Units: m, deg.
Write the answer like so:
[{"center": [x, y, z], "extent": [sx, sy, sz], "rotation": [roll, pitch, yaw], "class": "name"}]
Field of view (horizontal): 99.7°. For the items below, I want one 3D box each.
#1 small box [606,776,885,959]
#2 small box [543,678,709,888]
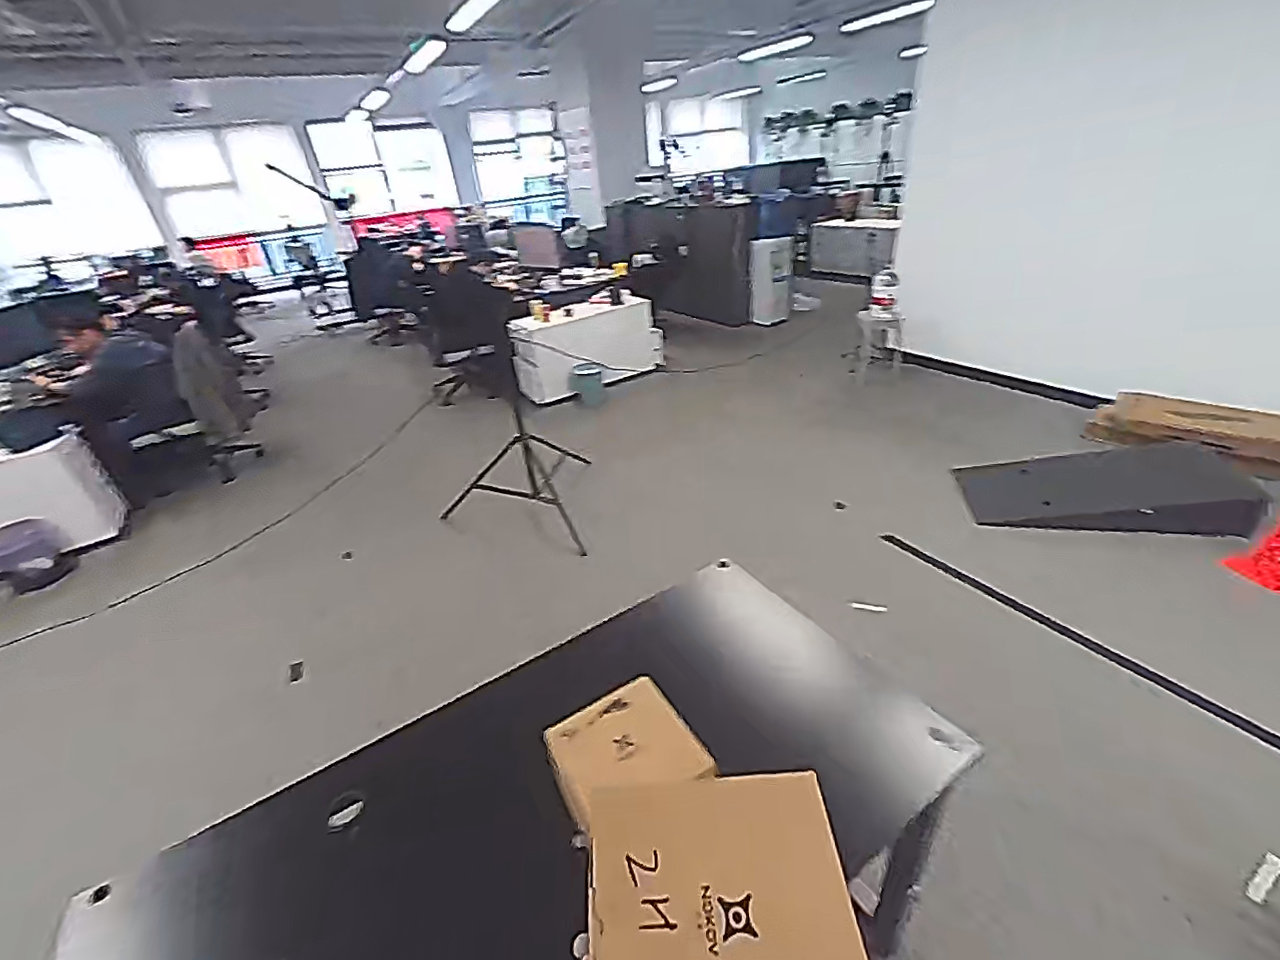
[{"center": [0.064, 0.341, 0.409], "extent": [0.179, 0.176, 0.168], "rotation": [-2, 44, -3], "class": "small box"}, {"center": [-0.014, 0.425, 0.752], "extent": [0.168, 0.176, 0.179], "rotation": [-22, 33, -23], "class": "small box"}]
